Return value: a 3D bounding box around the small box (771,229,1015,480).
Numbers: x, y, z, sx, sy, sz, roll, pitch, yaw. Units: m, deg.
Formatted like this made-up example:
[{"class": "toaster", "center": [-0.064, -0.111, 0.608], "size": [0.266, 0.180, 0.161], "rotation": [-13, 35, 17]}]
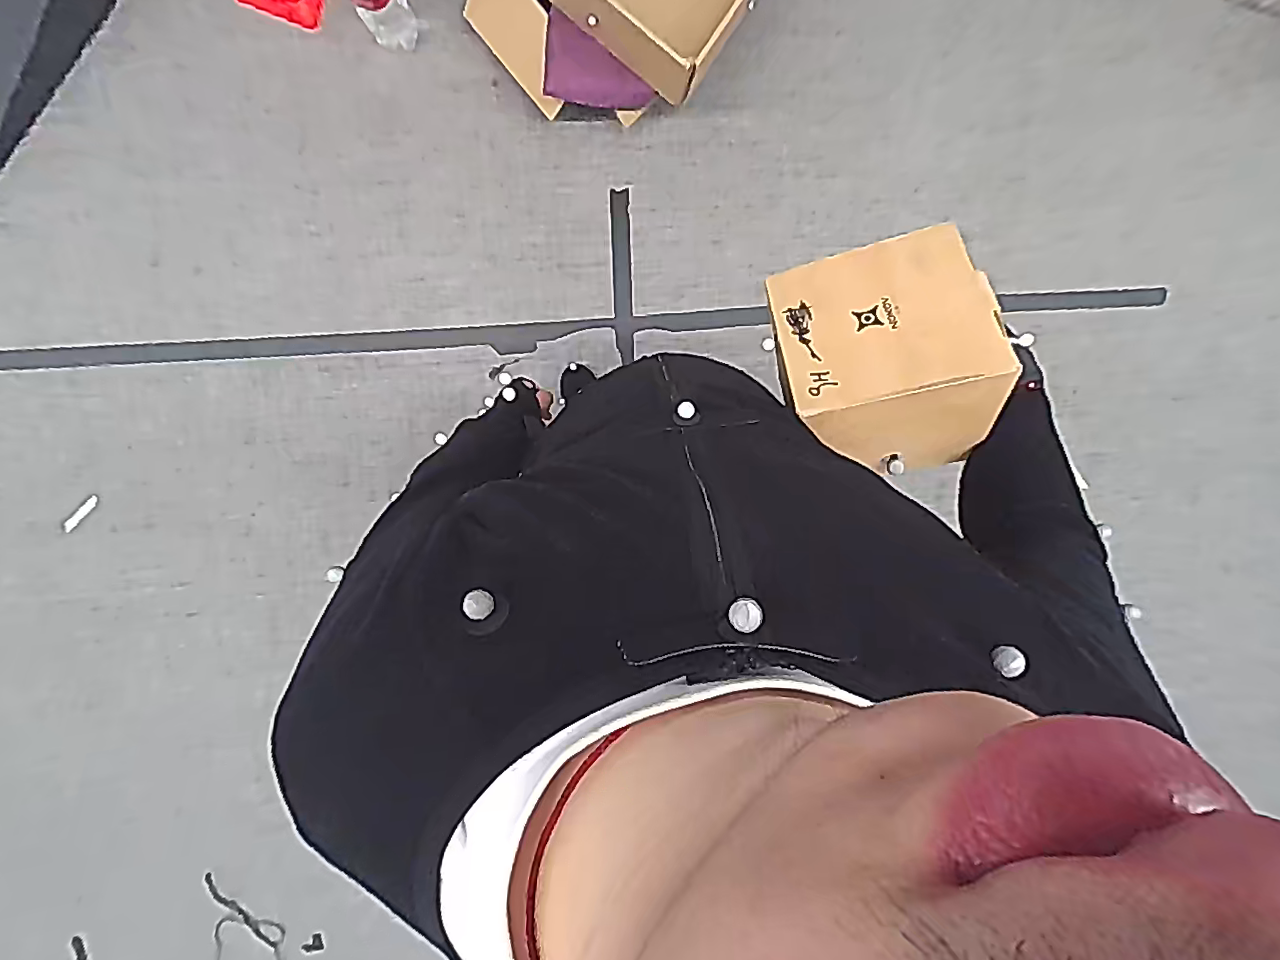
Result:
[{"class": "small box", "center": [0.243, -0.117, 0.564], "size": [0.179, 0.176, 0.168], "rotation": [-12, 63, 14]}]
